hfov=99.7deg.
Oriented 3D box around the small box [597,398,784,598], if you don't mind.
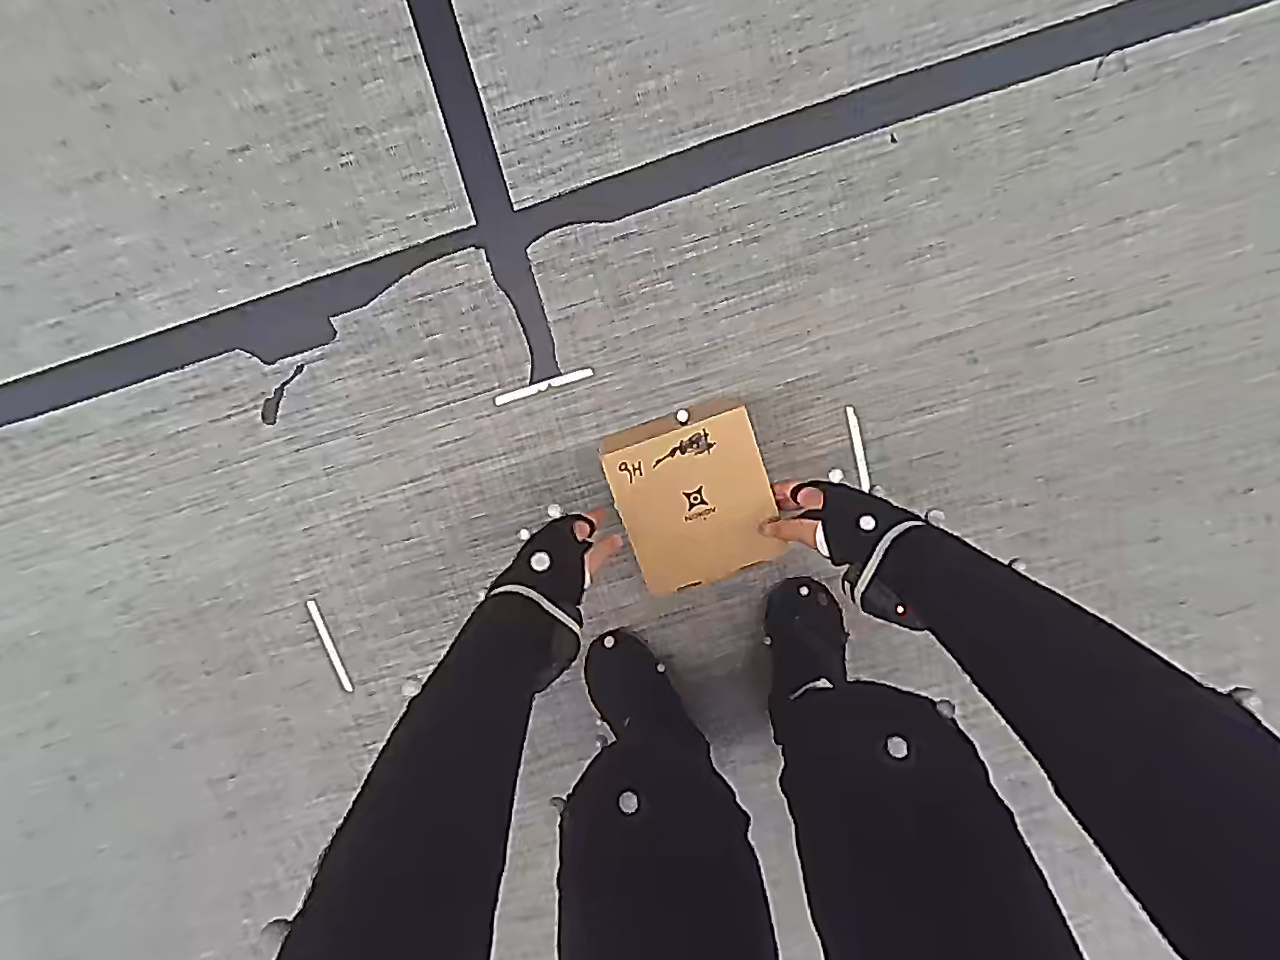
[{"bbox_3d":[0.056,0.011,0.658,0.168,0.176,0.179,-19,102,3],"label":"small box"}]
